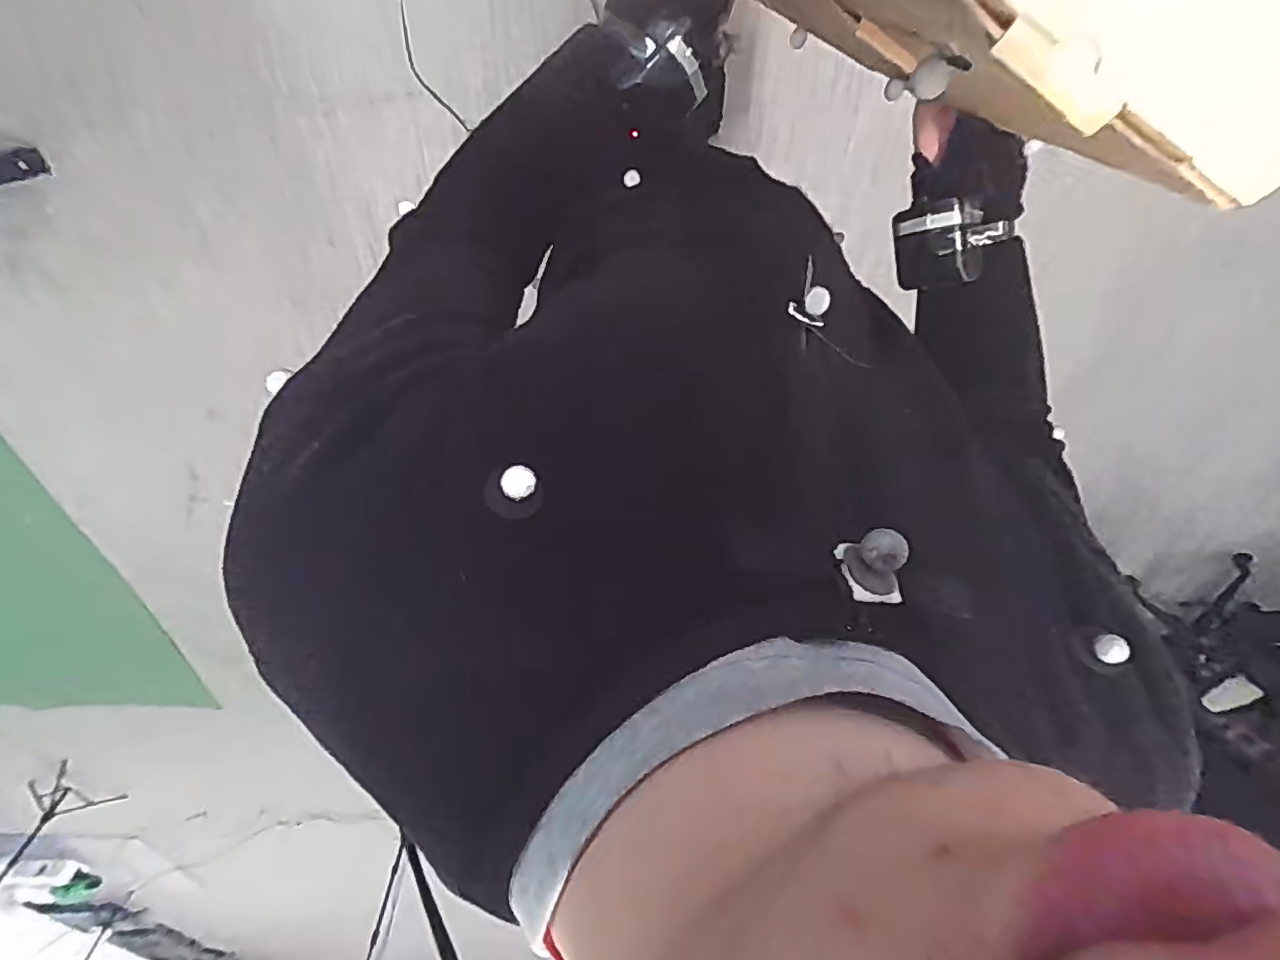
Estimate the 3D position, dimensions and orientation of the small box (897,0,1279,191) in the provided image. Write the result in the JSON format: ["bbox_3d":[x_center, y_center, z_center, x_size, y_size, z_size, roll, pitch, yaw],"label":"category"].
[{"bbox_3d":[0.167,-0.230,0.157,0.168,0.176,0.179,23,130,-15],"label":"small box"}]

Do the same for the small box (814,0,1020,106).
[{"bbox_3d":[0.176,-0.338,0.280,0.168,0.176,0.179,22,128,-14],"label":"small box"}]

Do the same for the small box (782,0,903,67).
[{"bbox_3d":[0.189,-0.446,0.399,0.168,0.176,0.179,21,130,-12],"label":"small box"}]
